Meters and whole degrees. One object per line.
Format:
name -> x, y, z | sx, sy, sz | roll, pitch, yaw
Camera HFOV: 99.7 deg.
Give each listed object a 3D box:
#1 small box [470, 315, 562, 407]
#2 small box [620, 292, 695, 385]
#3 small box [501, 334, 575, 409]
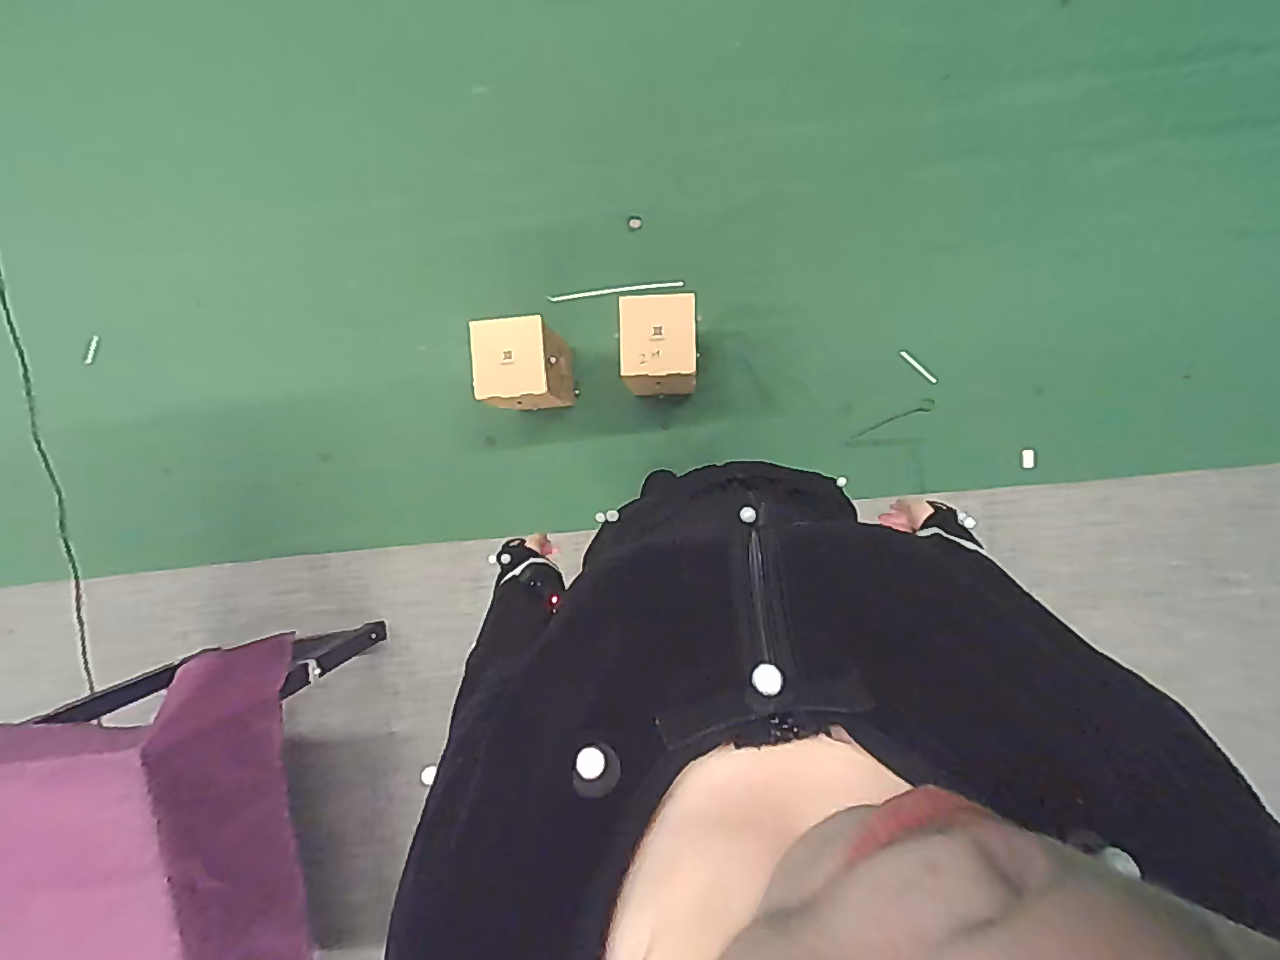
small box -> -0.286, -0.275, 1.277 | 0.168, 0.176, 0.179 | -4, 92, 5
small box -> 0.042, -0.320, 1.247 | 0.168, 0.176, 0.179 | -1, 93, 5
small box -> -0.275, -0.283, 1.440 | 0.179, 0.176, 0.168 | -4, 91, 6
